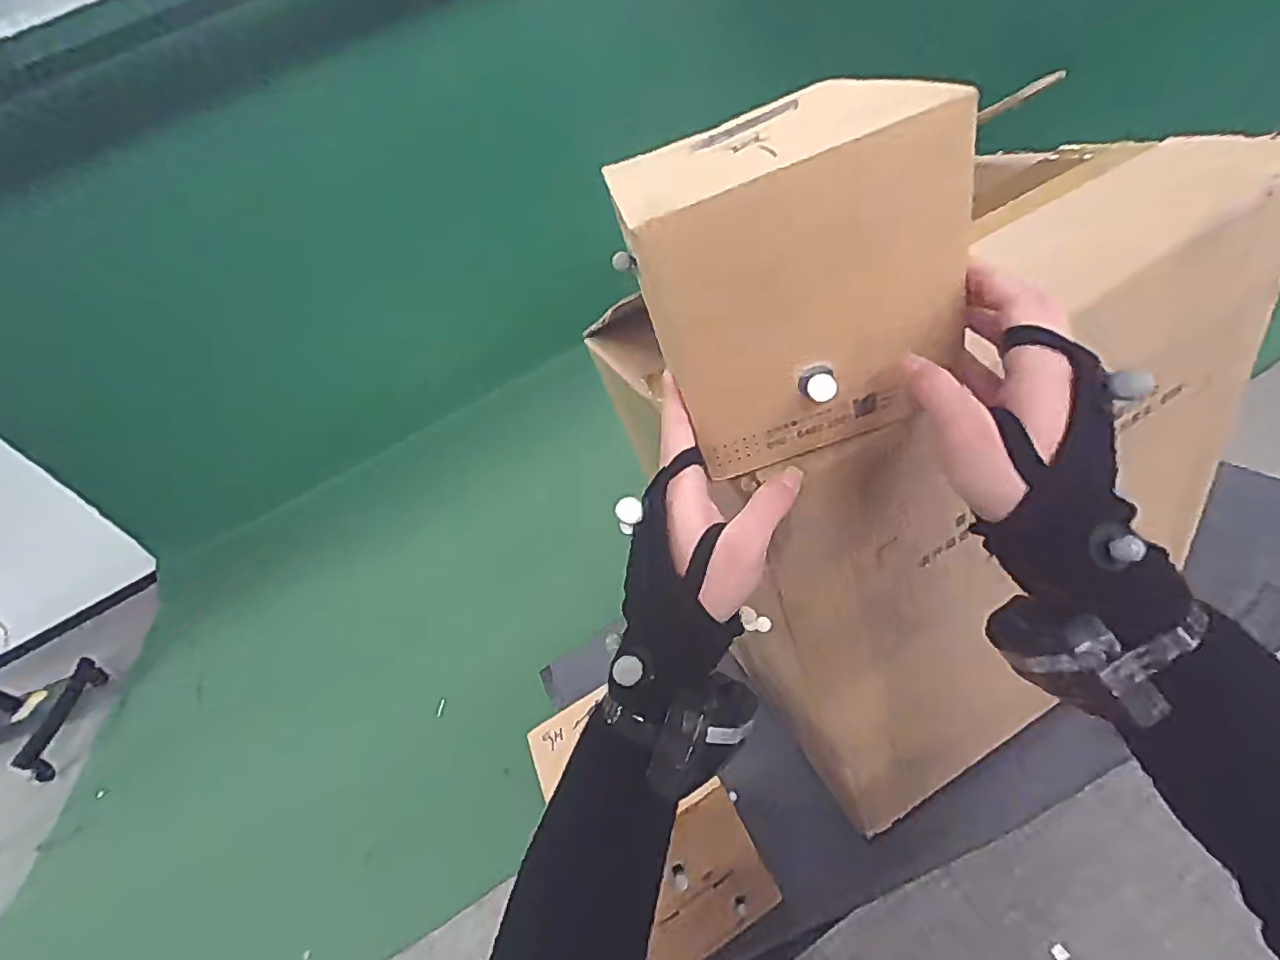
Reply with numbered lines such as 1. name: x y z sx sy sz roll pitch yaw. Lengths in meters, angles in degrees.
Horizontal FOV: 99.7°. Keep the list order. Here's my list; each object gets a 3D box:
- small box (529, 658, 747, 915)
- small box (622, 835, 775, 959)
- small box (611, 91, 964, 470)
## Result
1. small box: 0.001 0.349 0.615 0.168 0.176 0.179 -29 36 -10
2. small box: 0.052 0.478 0.703 0.168 0.176 0.179 -29 34 -10
3. small box: 0.087 -0.136 0.369 0.168 0.176 0.179 -19 37 6
